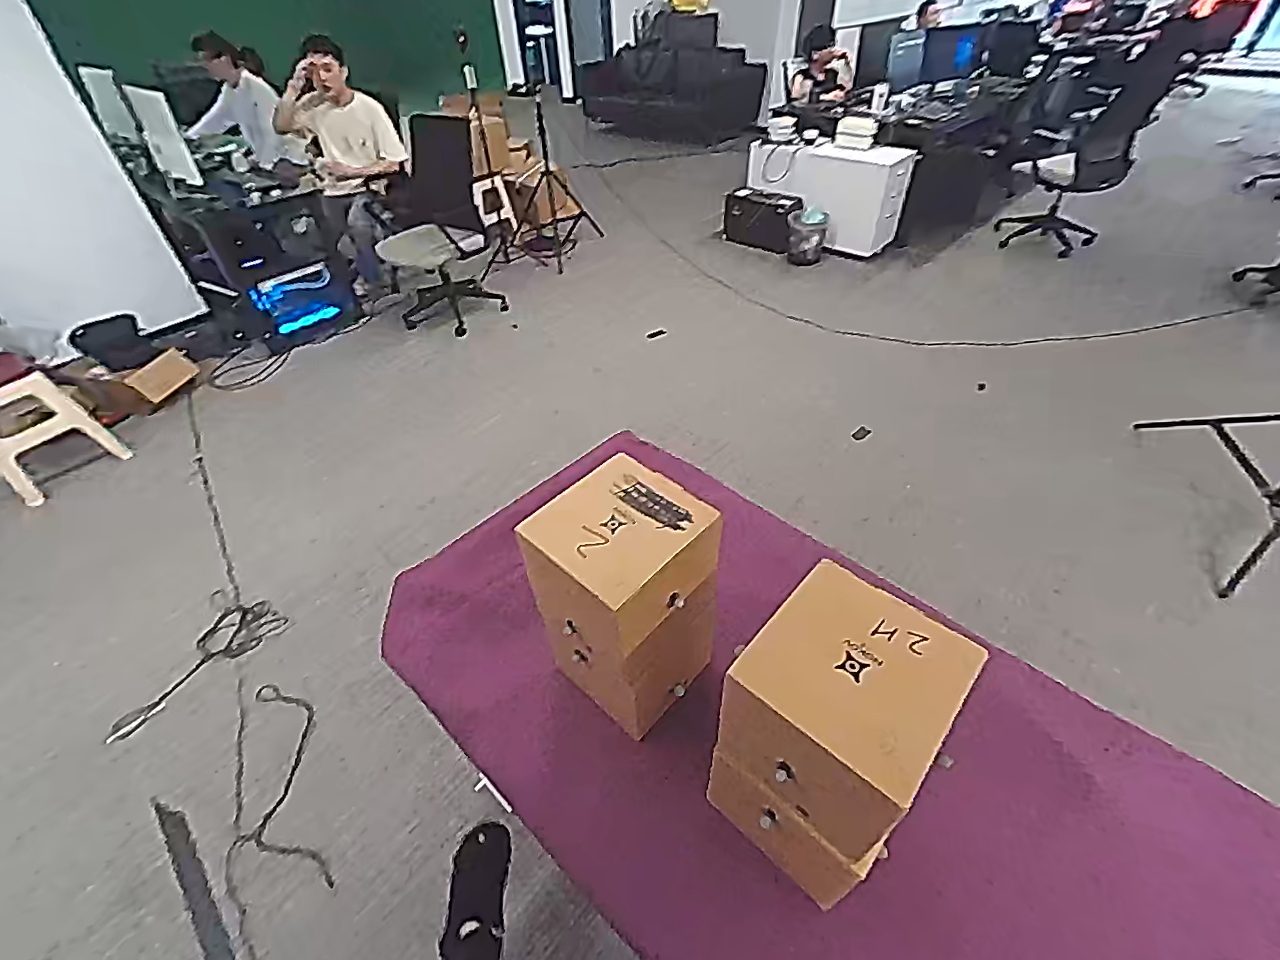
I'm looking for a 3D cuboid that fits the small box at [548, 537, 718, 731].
[{"bbox_3d":[-0.008,0.223,0.784,0.179,0.176,0.168,32,54,31],"label":"small box"}]

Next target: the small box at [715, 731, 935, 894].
[{"bbox_3d":[0.207,0.347,0.643,0.179,0.176,0.168,32,53,32],"label":"small box"}]

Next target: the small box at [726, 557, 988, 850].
[{"bbox_3d":[0.201,0.219,0.538,0.168,0.176,0.179,32,53,32],"label":"small box"}]
